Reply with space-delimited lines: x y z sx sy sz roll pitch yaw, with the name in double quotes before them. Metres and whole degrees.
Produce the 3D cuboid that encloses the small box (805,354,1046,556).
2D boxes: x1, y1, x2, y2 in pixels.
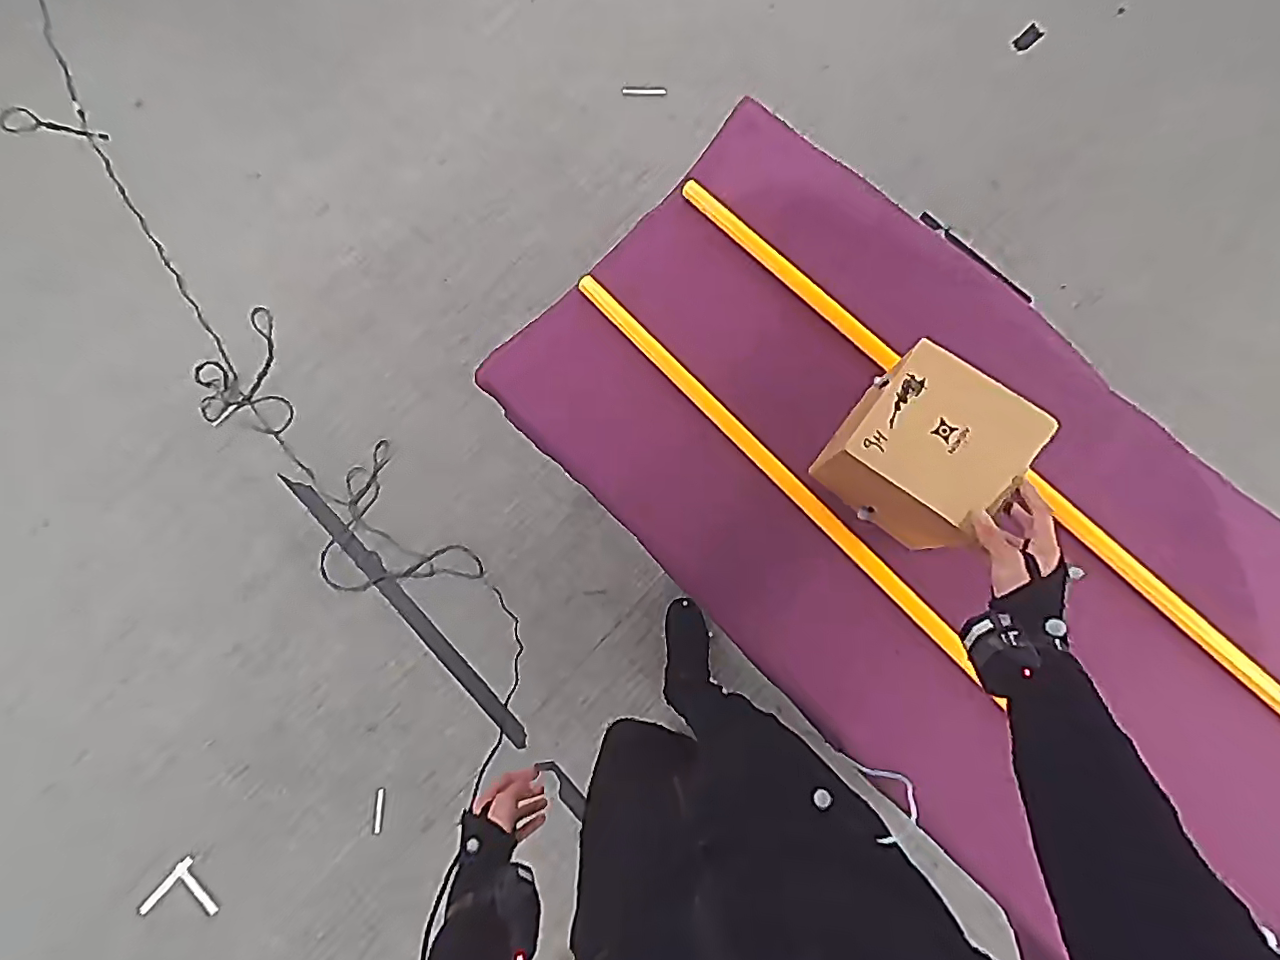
"small box" 0.340 -0.022 0.684 0.179 0.176 0.168 37 85 8
